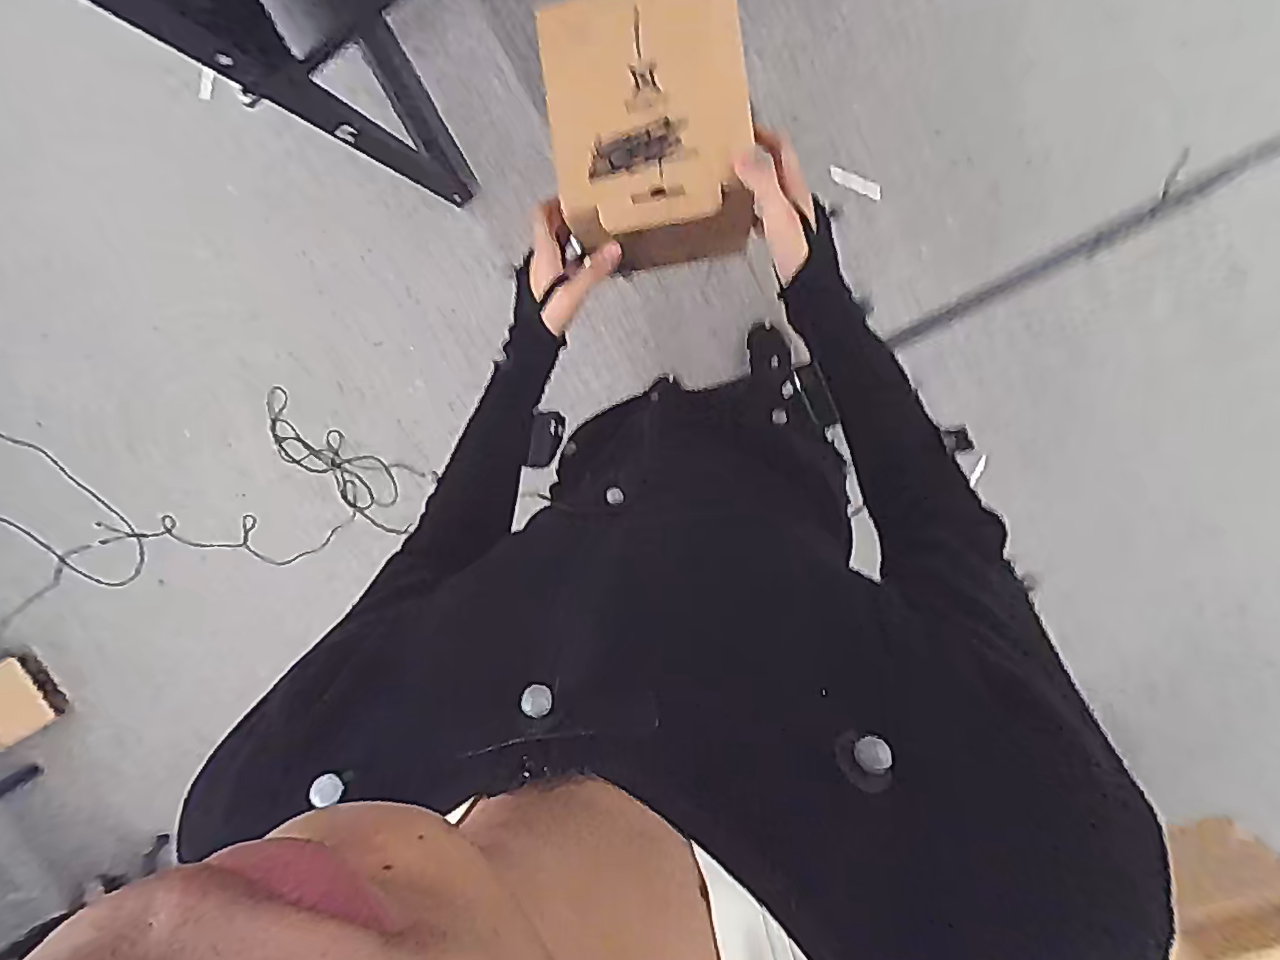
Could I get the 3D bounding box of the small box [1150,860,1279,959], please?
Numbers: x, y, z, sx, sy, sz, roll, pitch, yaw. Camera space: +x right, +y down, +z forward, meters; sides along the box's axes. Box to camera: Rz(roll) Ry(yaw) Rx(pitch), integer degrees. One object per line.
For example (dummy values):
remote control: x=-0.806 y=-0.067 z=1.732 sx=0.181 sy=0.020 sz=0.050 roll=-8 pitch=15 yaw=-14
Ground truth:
small box: x=1.289 y=0.994 z=1.190 sx=0.179 sy=0.176 sz=0.168 roll=-33 pitch=98 yaw=13
